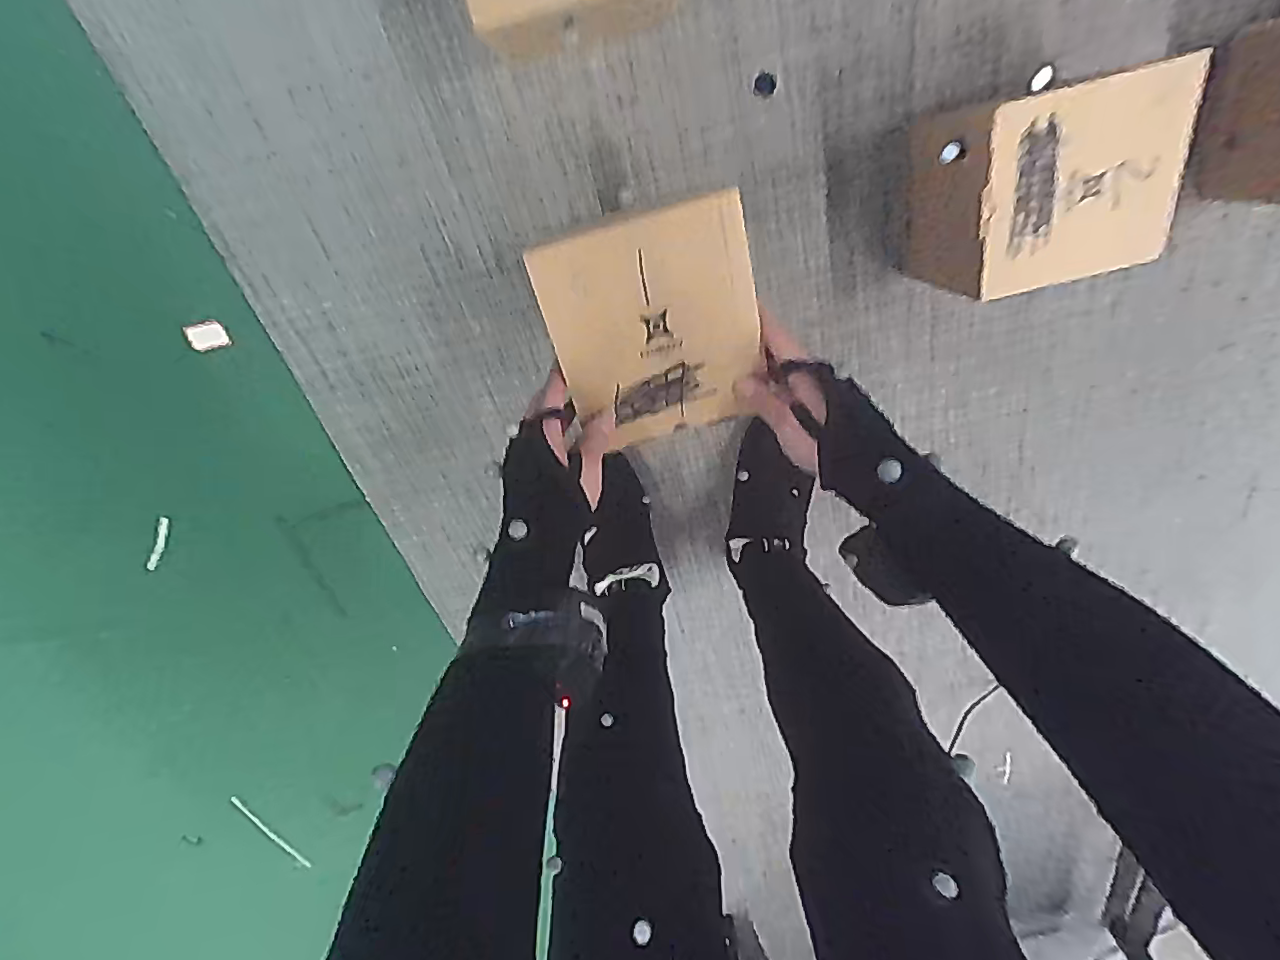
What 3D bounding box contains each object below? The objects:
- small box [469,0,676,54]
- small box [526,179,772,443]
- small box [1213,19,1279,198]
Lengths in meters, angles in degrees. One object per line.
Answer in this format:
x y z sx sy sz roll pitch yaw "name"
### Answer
-0.059 -0.475 0.436 0.179 0.176 0.168 -11 120 5 "small box"
0.011 -0.162 0.500 0.168 0.176 0.179 -15 118 4 "small box"
0.730 -0.382 0.521 0.179 0.176 0.168 -15 119 6 "small box"
